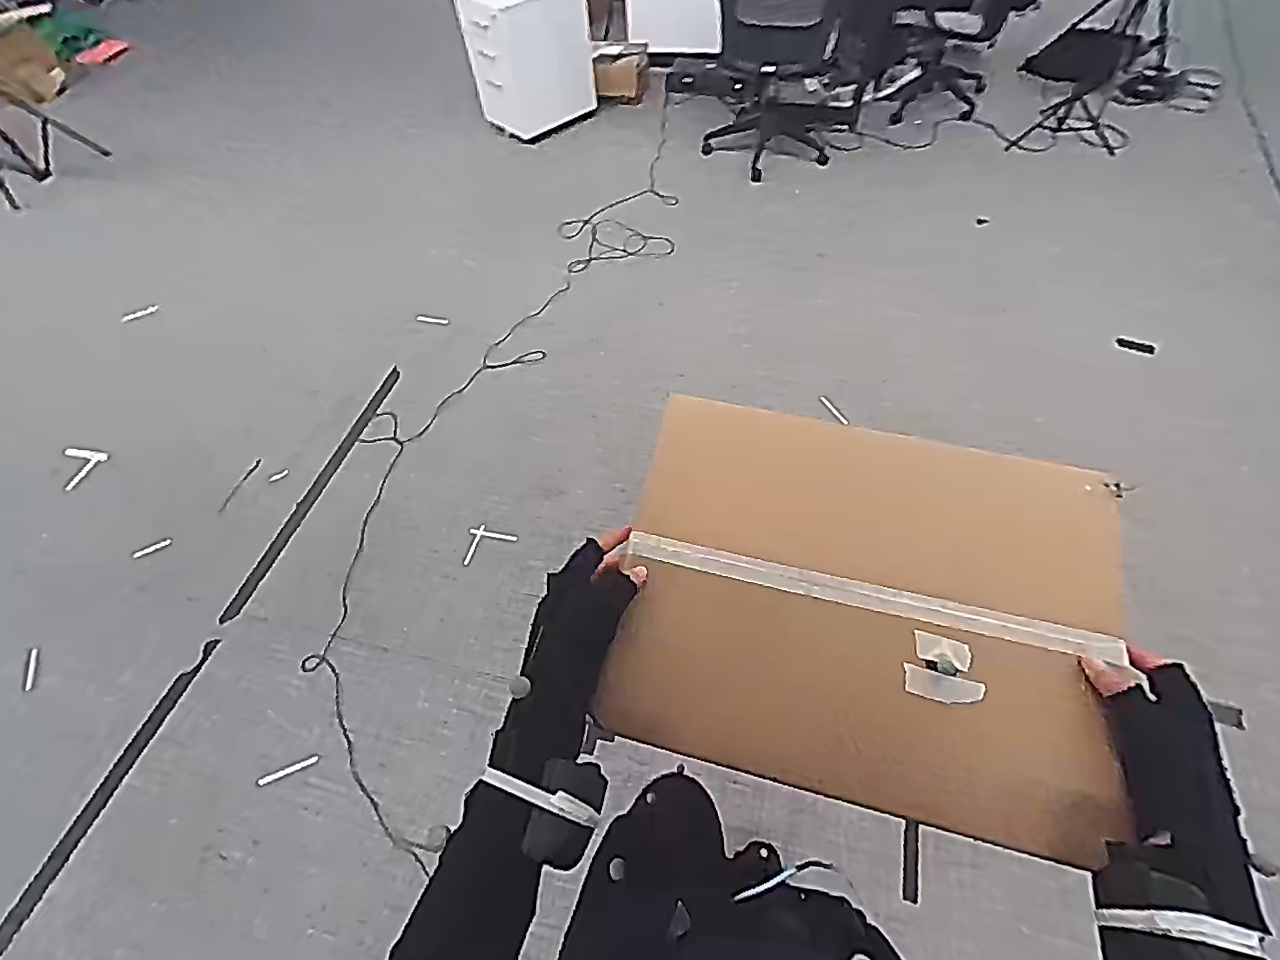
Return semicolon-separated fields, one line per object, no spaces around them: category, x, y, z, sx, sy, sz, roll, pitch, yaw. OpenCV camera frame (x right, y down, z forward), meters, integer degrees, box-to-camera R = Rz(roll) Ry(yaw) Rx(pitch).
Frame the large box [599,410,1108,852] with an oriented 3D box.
large box;0.197;0.154;0.615;0.408;0.320;0.320;12;72;8
